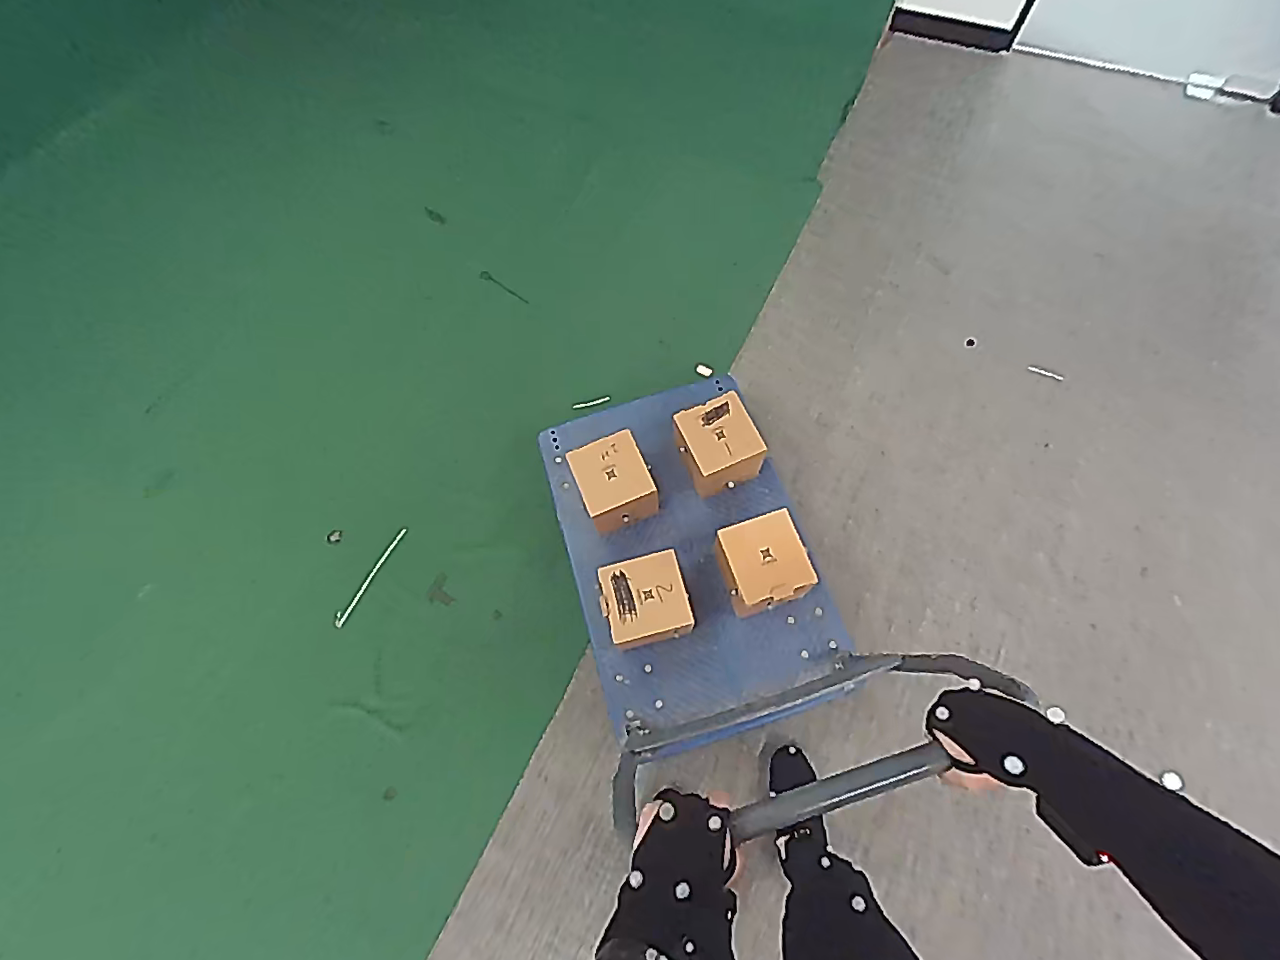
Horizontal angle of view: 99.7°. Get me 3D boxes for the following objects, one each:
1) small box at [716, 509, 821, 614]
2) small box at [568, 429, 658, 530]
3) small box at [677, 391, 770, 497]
[{"bbox_3d":[0.281,0.191,1.232,0.168,0.176,0.179,-18,69,-4],"label":"small box"},{"bbox_3d":[-0.060,0.009,1.320,0.168,0.176,0.179,-22,69,-6],"label":"small box"},{"bbox_3d":[0.197,-0.084,1.341,0.168,0.176,0.179,-23,70,-5],"label":"small box"}]
